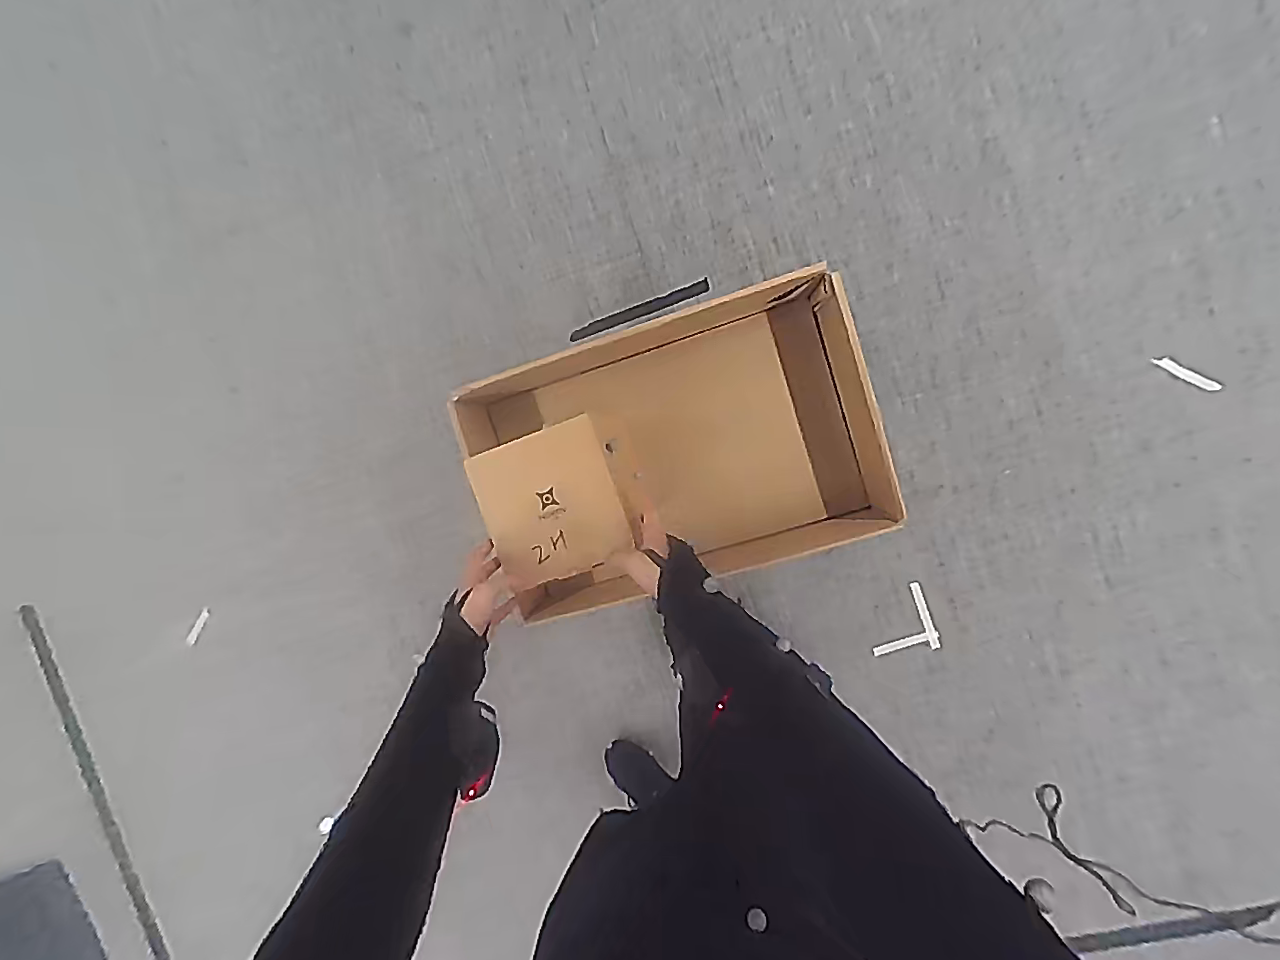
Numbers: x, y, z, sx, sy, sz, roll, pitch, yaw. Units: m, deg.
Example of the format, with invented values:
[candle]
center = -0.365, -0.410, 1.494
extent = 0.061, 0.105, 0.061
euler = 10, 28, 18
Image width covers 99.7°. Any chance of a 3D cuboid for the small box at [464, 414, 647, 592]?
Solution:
[small box]
center = -0.100, 0.024, 0.718
extent = 0.168, 0.176, 0.179
euler = -20, 93, 8
